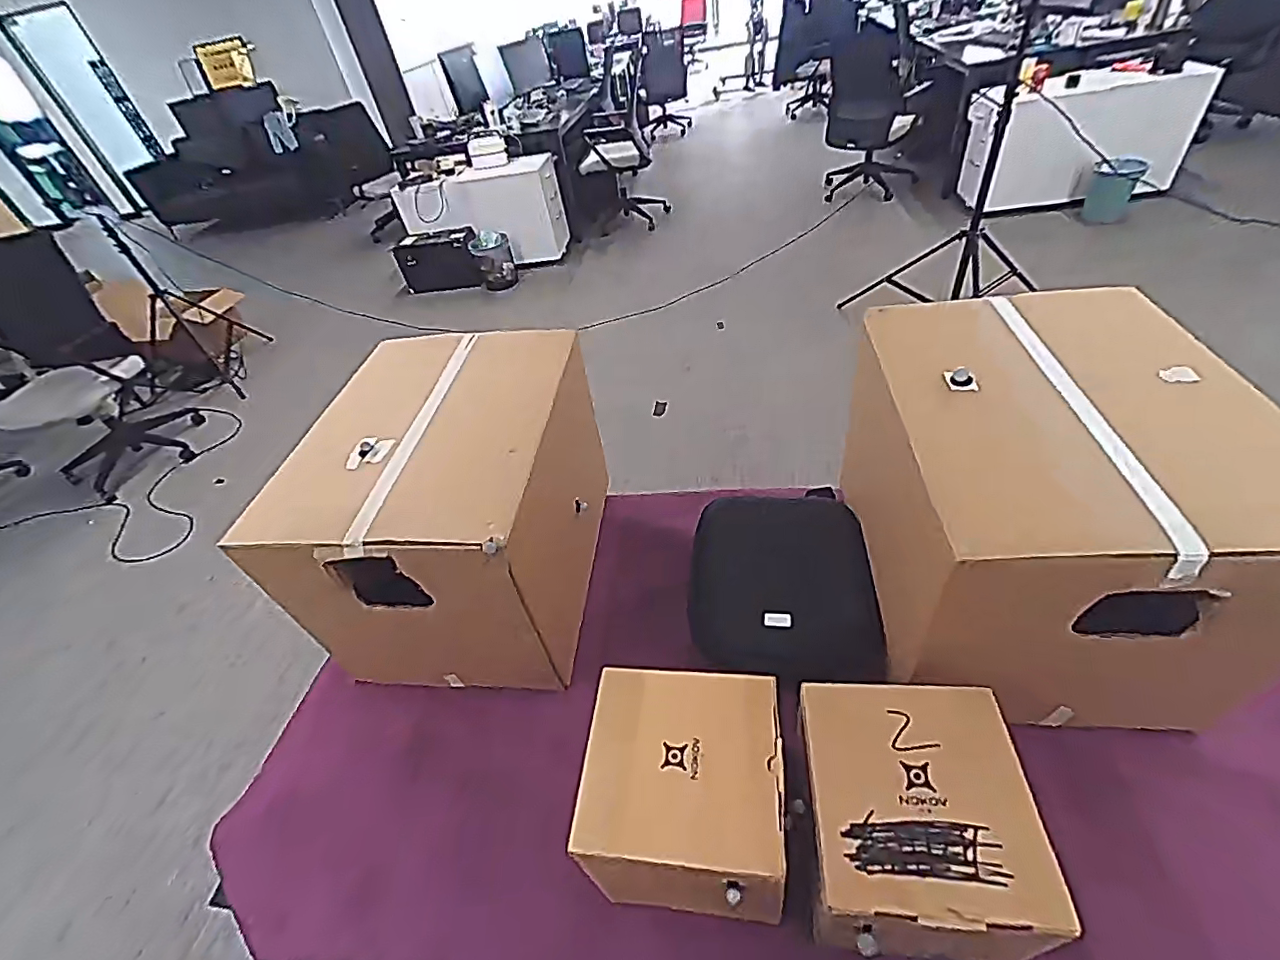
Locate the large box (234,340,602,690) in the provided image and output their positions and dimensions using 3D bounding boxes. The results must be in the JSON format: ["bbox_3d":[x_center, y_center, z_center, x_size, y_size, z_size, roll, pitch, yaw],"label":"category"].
[{"bbox_3d":[-0.243,0.042,0.781,0.320,0.320,0.408,-2,46,8],"label":"large box"}]
